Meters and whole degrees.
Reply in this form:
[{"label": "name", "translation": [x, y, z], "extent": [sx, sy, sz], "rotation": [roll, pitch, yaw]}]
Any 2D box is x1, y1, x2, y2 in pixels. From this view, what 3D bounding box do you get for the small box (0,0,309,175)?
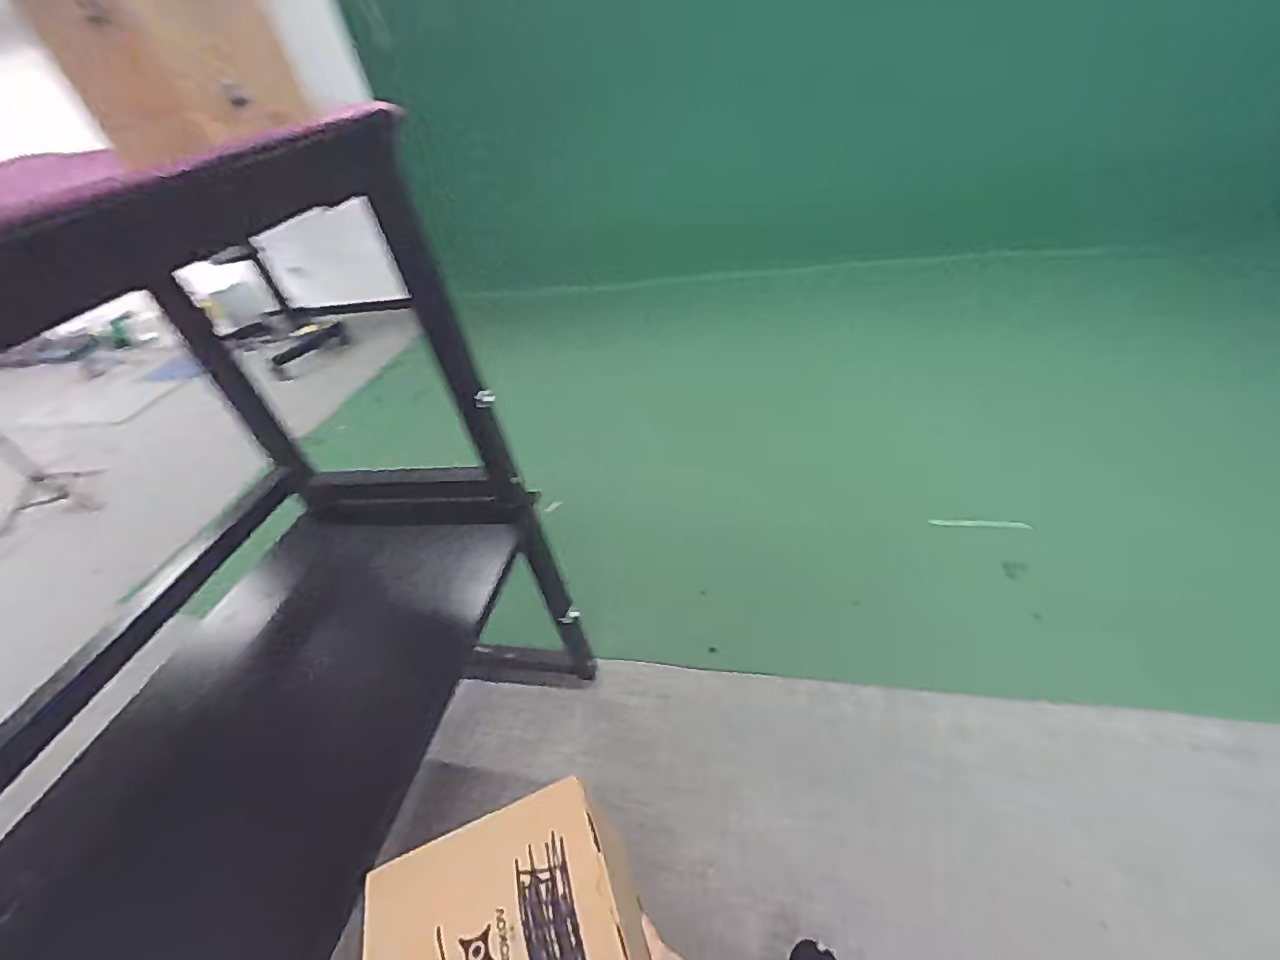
[{"label": "small box", "translation": [-0.537, -0.463, 0.618], "extent": [0.179, 0.176, 0.168], "rotation": [8, 44, 20]}]
